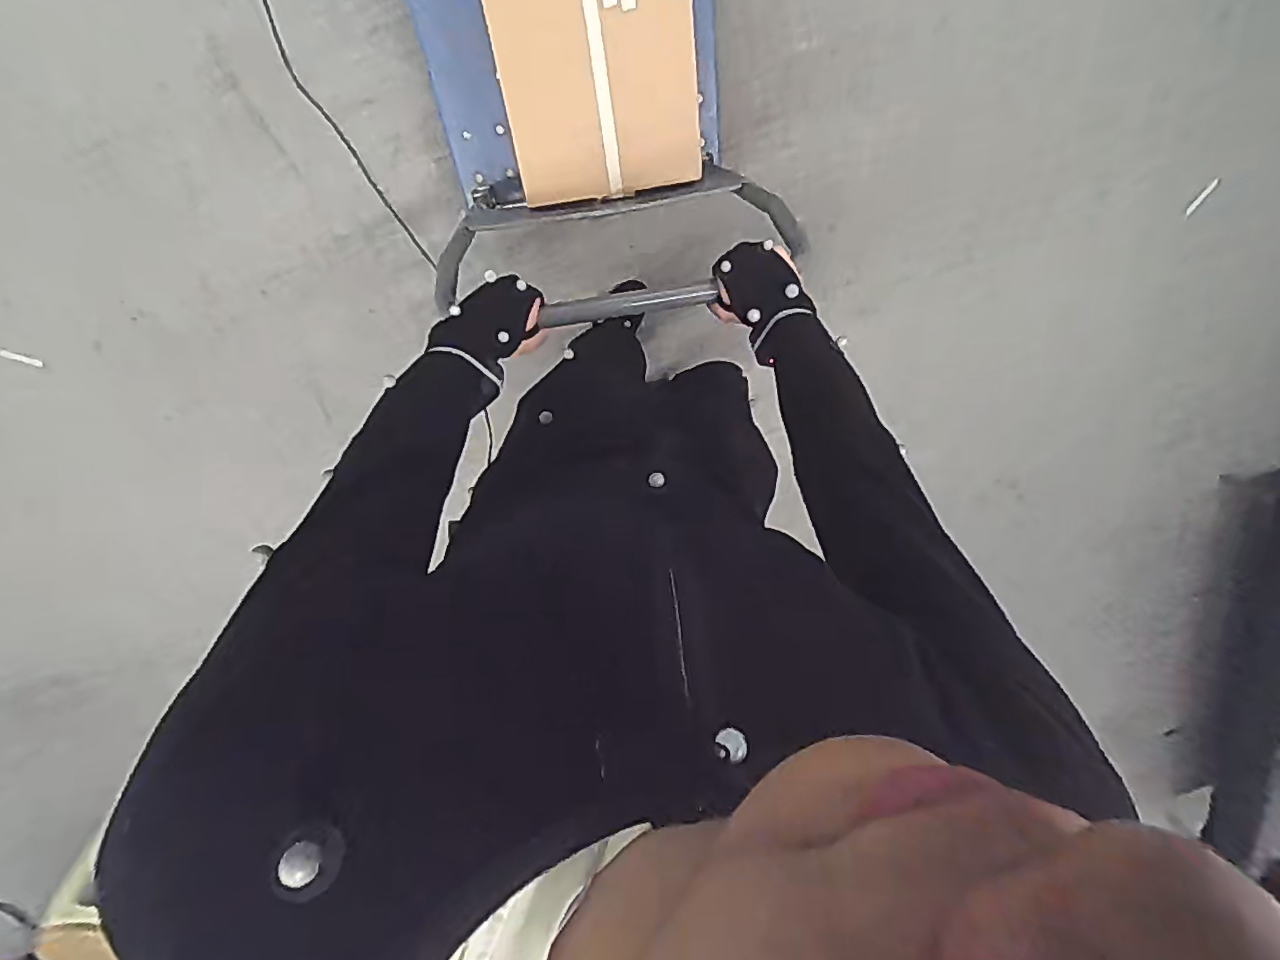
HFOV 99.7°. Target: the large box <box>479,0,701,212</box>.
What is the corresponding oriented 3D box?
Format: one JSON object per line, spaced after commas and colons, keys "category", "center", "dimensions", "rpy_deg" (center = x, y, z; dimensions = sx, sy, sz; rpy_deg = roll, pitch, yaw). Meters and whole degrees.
{"category": "large box", "center": [-0.088, -0.741, 0.974], "dimensions": [0.320, 0.320, 0.408], "rpy_deg": [-11, 122, -1]}
